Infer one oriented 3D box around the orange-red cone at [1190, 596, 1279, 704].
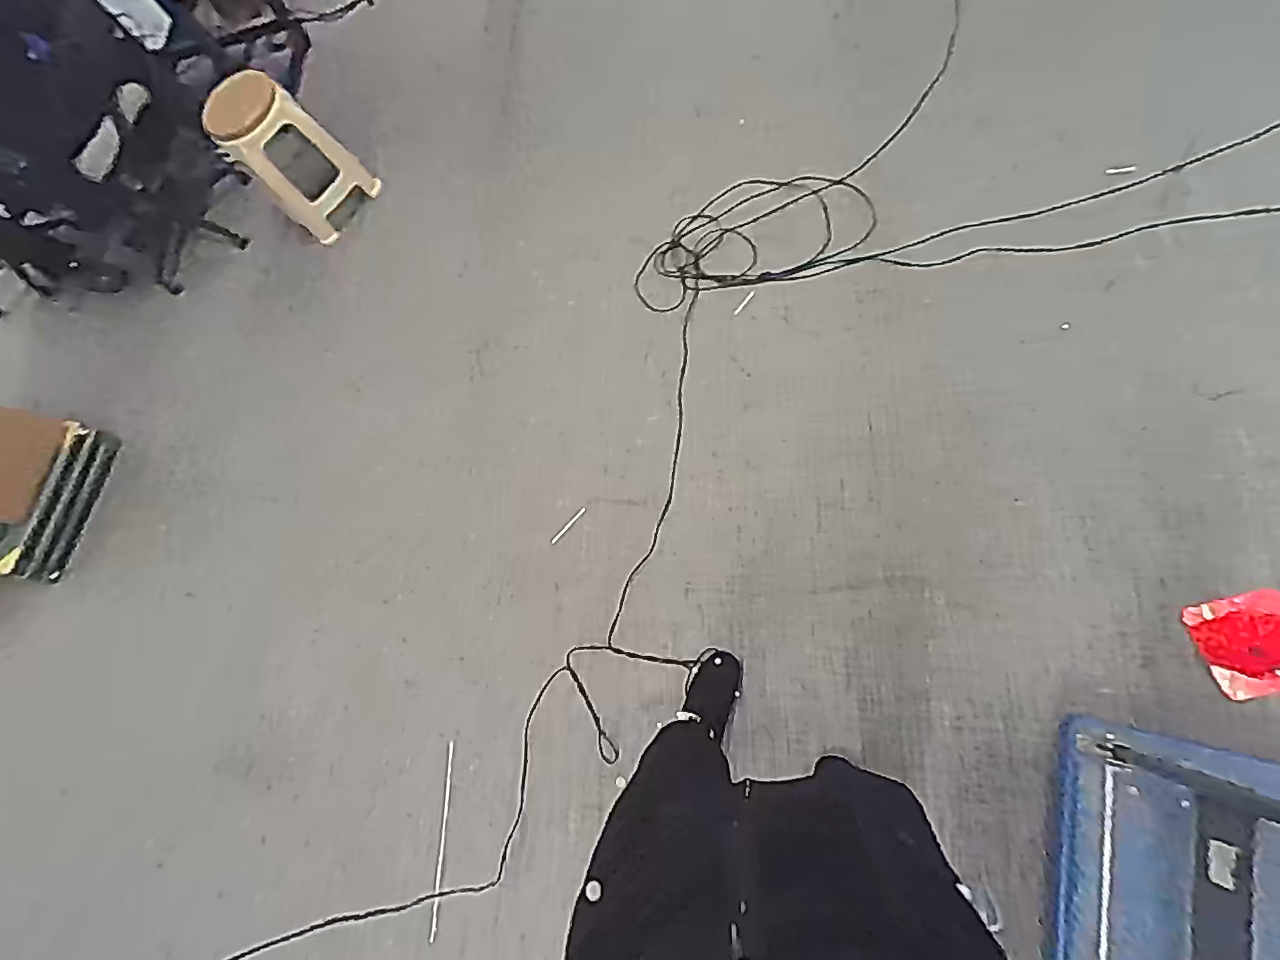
[{"bbox_3d":[1.291,0.314,1.005,0.198,0.360,0.199,-16,69,8],"label":"orange-red cone"}]
